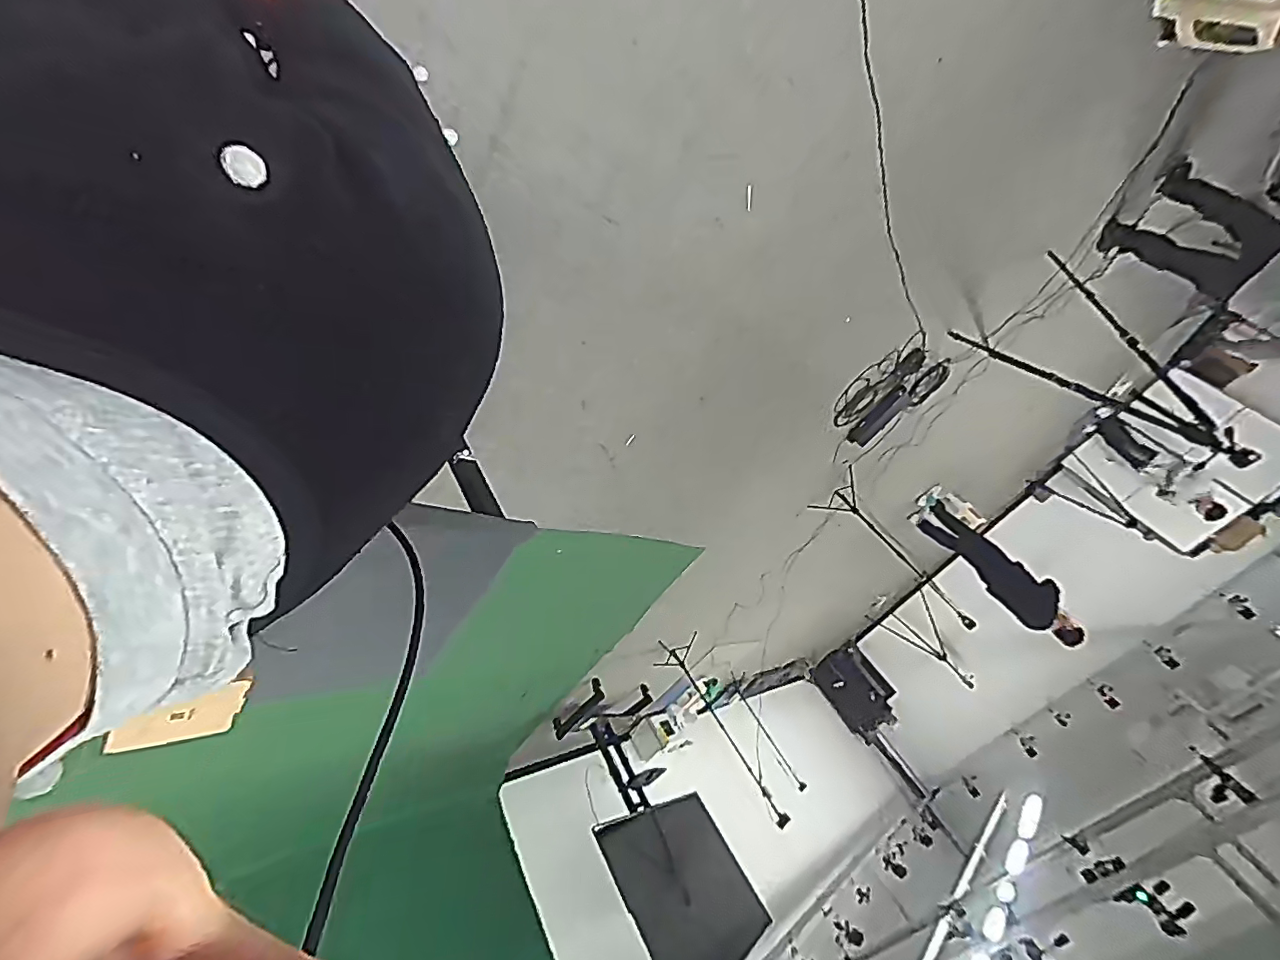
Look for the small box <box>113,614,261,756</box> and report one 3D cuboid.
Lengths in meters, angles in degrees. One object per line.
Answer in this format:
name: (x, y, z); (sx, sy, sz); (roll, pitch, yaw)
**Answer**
small box: (-0.826, 0.362, 0.987); (0.179, 0.176, 0.168); (10, 124, -47)
